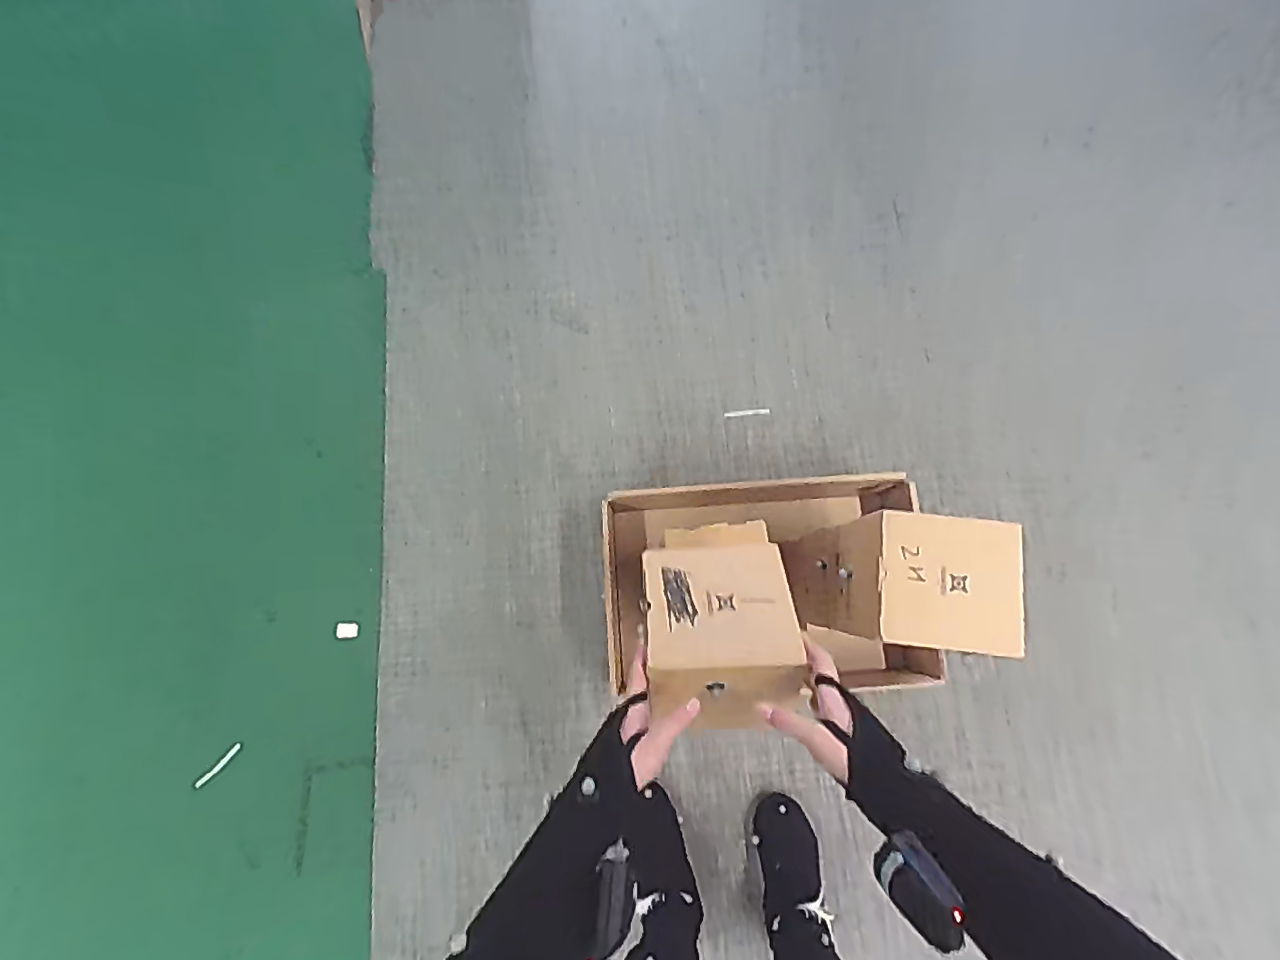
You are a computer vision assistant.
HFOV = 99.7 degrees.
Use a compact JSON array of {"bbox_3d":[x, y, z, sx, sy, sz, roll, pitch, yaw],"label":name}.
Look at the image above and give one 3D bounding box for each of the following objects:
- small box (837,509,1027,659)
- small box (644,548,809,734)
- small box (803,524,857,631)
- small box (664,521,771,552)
[{"bbox_3d":[0.390,0.141,0.744,0.179,0.176,0.168,6,78,4],"label":"small box"},{"bbox_3d":[0.097,0.204,0.682,0.179,0.176,0.168,-2,42,1],"label":"small box"},{"bbox_3d":[0.387,0.164,0.909,0.179,0.176,0.168,-1,78,2],"label":"small box"},{"bbox_3d":[0.131,0.174,0.922,0.168,0.176,0.179,-6,77,-1],"label":"small box"}]
